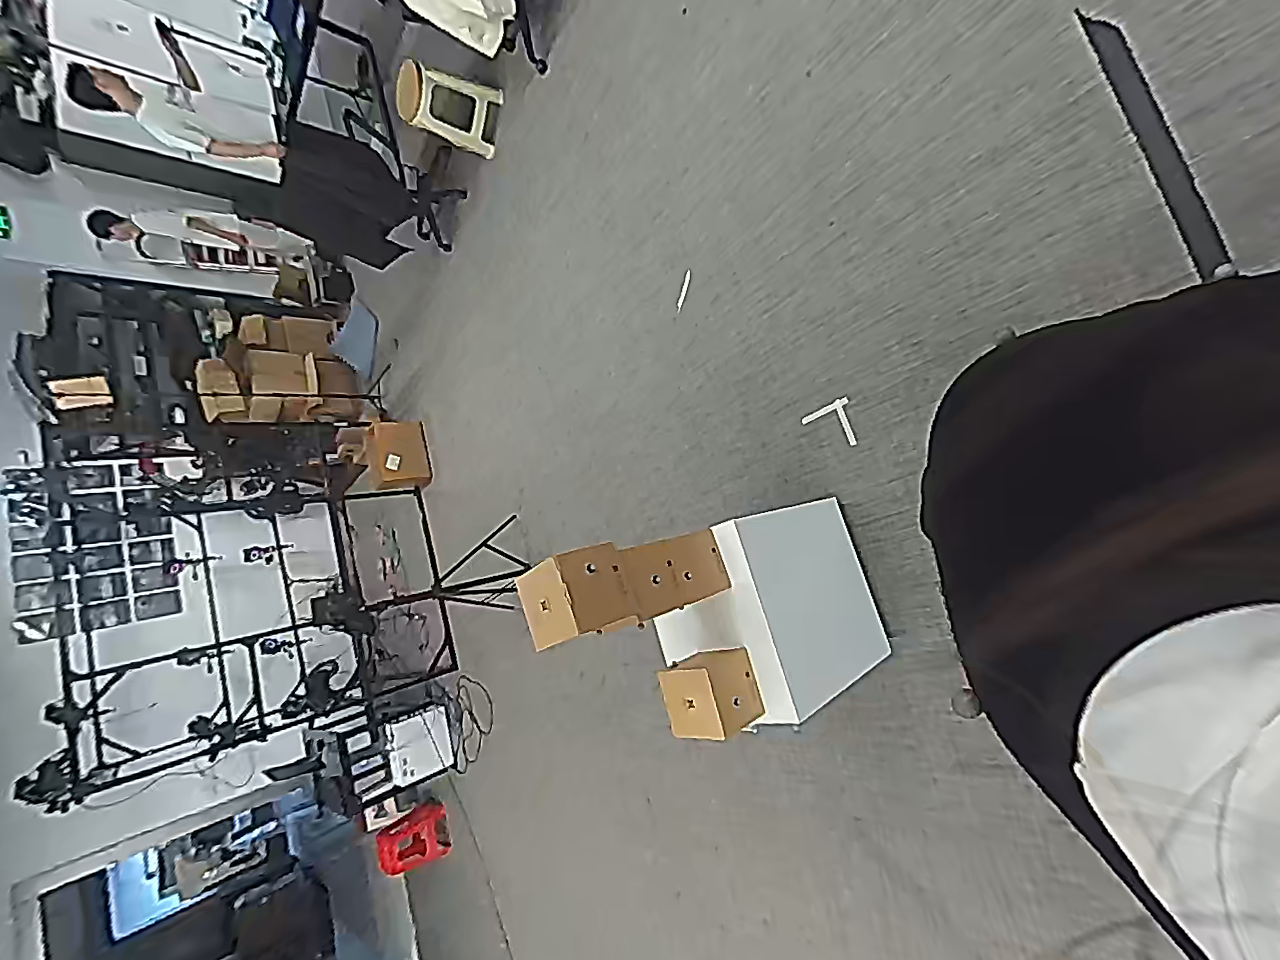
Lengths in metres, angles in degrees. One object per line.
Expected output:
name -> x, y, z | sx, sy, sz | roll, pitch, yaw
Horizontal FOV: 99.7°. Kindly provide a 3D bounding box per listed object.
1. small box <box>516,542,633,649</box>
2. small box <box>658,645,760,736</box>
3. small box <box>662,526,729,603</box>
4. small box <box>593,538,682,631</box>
small box -> -0.135, 0.245, 1.168 | 0.179, 0.176, 0.168 | -35, 70, 44
small box -> 0.179, 0.523, 1.358 | 0.179, 0.176, 0.168 | -26, 77, 46
small box -> 0.097, 0.228, 1.399 | 0.179, 0.176, 0.168 | -29, 76, 45
small box -> -0.022, 0.245, 1.286 | 0.179, 0.176, 0.168 | -28, 76, 45
